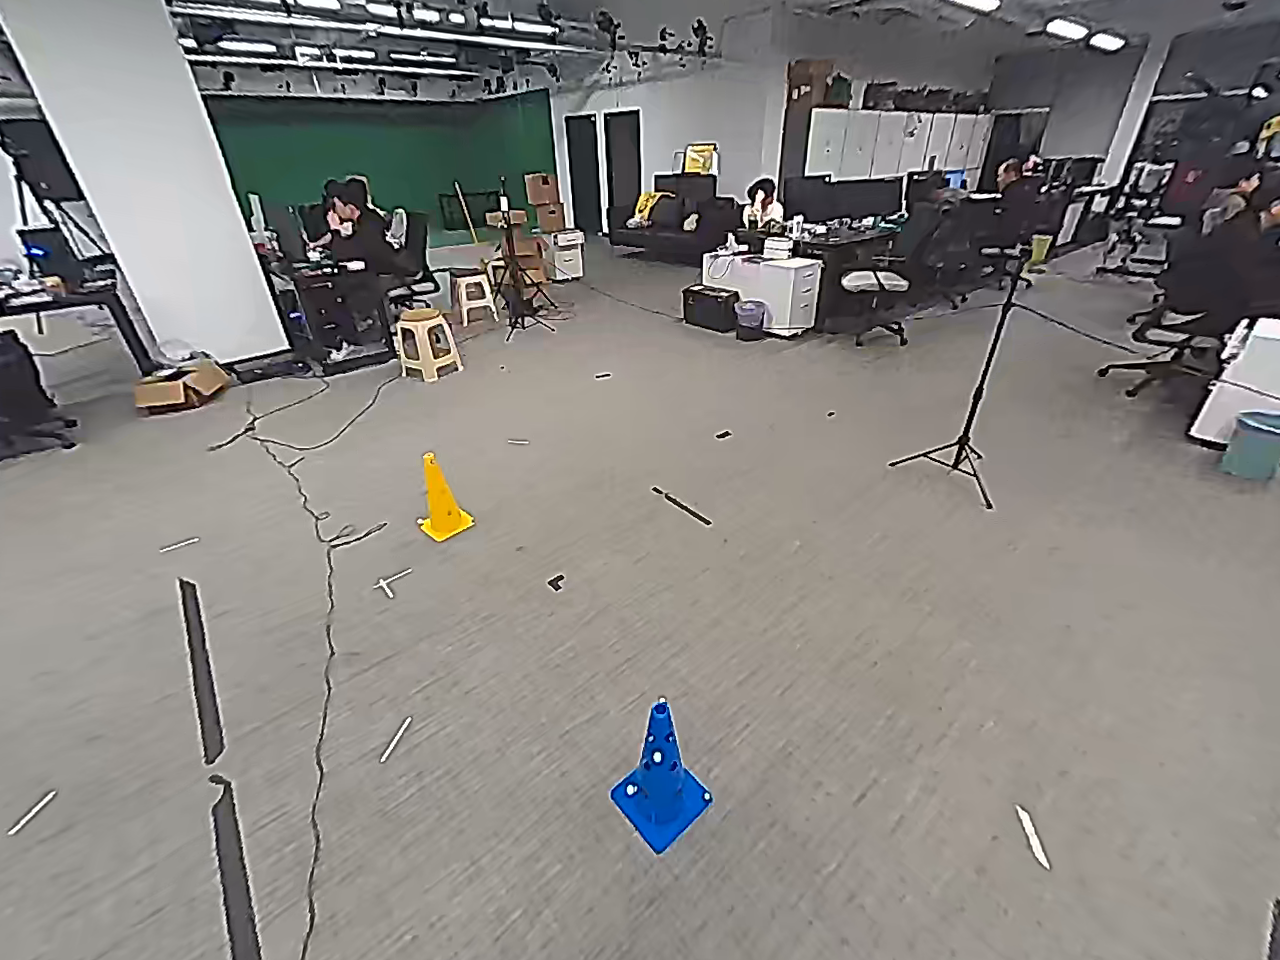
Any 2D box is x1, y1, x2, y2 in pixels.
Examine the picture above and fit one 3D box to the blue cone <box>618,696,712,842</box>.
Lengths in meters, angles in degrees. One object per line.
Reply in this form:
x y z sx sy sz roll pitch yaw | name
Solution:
0.058 0.662 1.299 0.192 0.380 0.193 -23 37 -33 | blue cone
